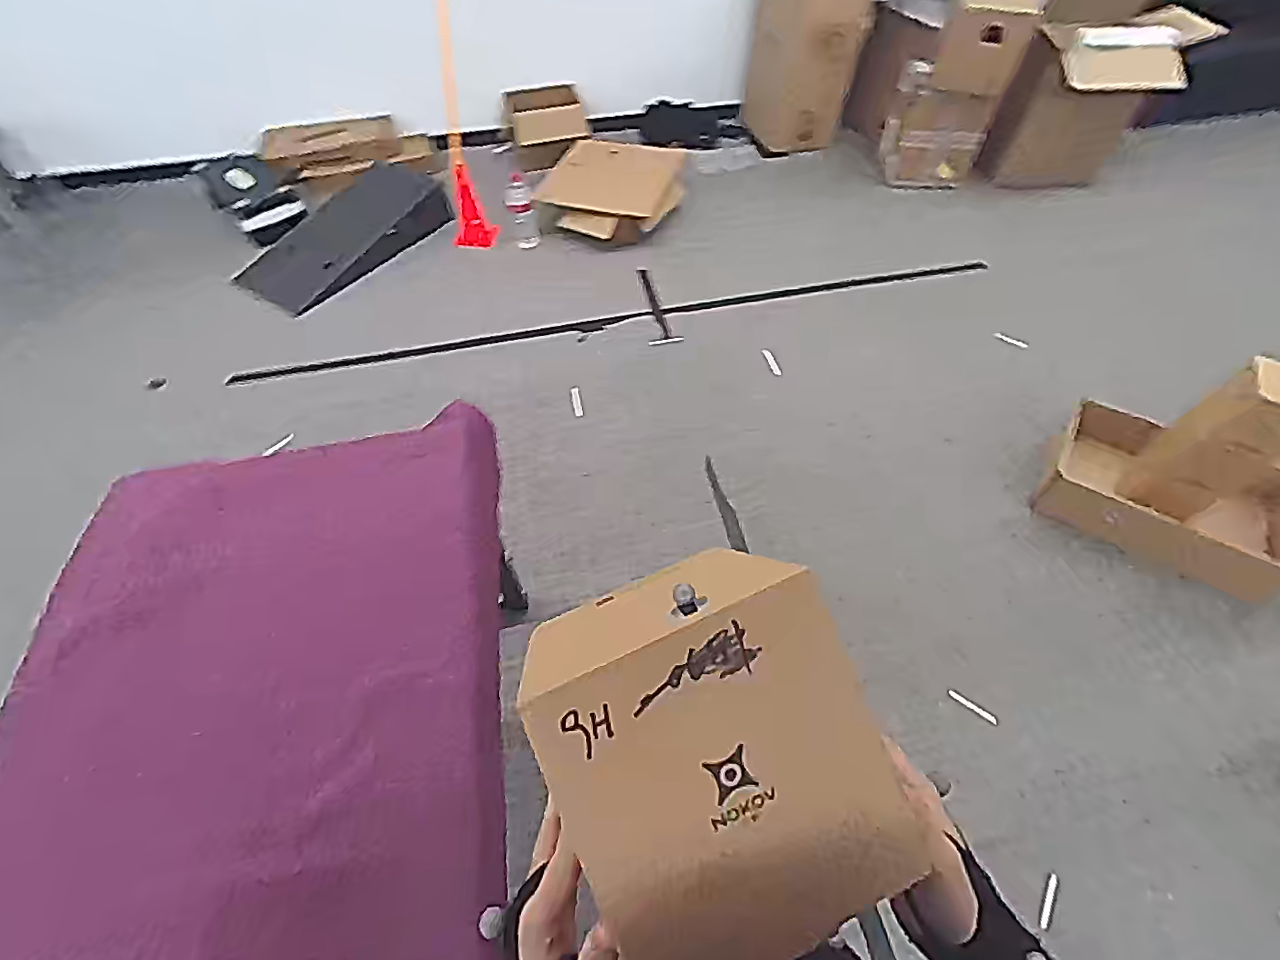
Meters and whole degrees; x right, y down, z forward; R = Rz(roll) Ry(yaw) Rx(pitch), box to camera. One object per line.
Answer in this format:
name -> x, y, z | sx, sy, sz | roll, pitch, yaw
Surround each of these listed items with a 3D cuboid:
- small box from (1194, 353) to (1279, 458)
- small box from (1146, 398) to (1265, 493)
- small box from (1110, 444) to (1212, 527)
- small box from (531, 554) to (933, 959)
small box -> 1.584, -0.187, 1.388 | 0.168, 0.176, 0.179 | 25, 58, 16
small box -> 1.581, -0.092, 1.523 | 0.168, 0.176, 0.179 | 25, 57, 16
small box -> 1.587, 0.008, 1.651 | 0.168, 0.176, 0.179 | 28, 59, 20
small box -> 0.041, 0.162, 0.355 | 0.168, 0.176, 0.179 | -22, 90, -8
